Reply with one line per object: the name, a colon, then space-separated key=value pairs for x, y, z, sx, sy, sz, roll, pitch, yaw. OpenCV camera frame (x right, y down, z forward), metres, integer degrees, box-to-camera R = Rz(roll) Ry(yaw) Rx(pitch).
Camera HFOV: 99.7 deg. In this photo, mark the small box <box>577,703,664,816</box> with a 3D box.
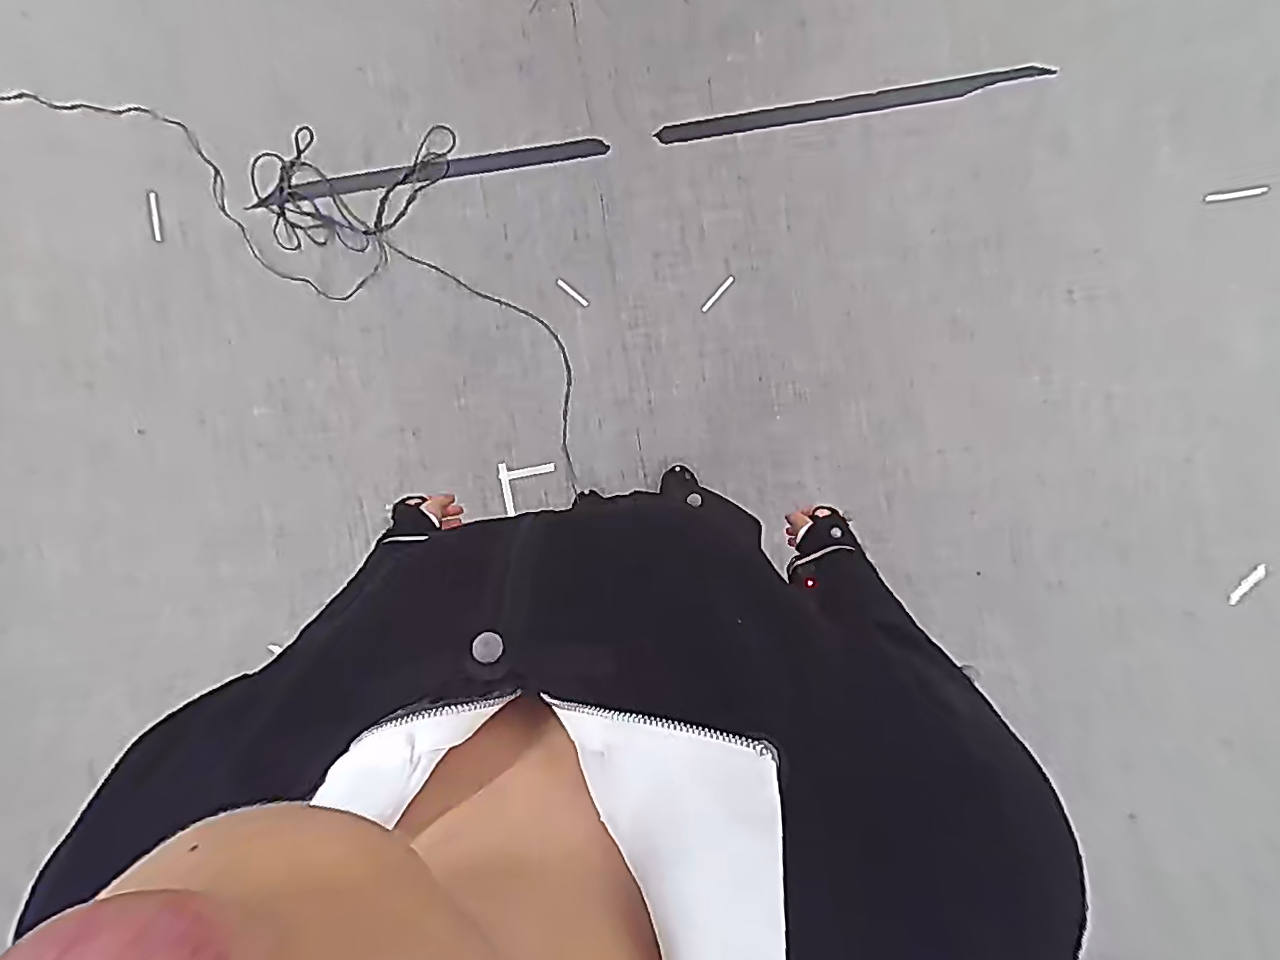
small box: x=-0.039 y=0.623 z=1.239 sx=0.168 sy=0.176 sz=0.179 roll=-11 pitch=90 yaw=2
